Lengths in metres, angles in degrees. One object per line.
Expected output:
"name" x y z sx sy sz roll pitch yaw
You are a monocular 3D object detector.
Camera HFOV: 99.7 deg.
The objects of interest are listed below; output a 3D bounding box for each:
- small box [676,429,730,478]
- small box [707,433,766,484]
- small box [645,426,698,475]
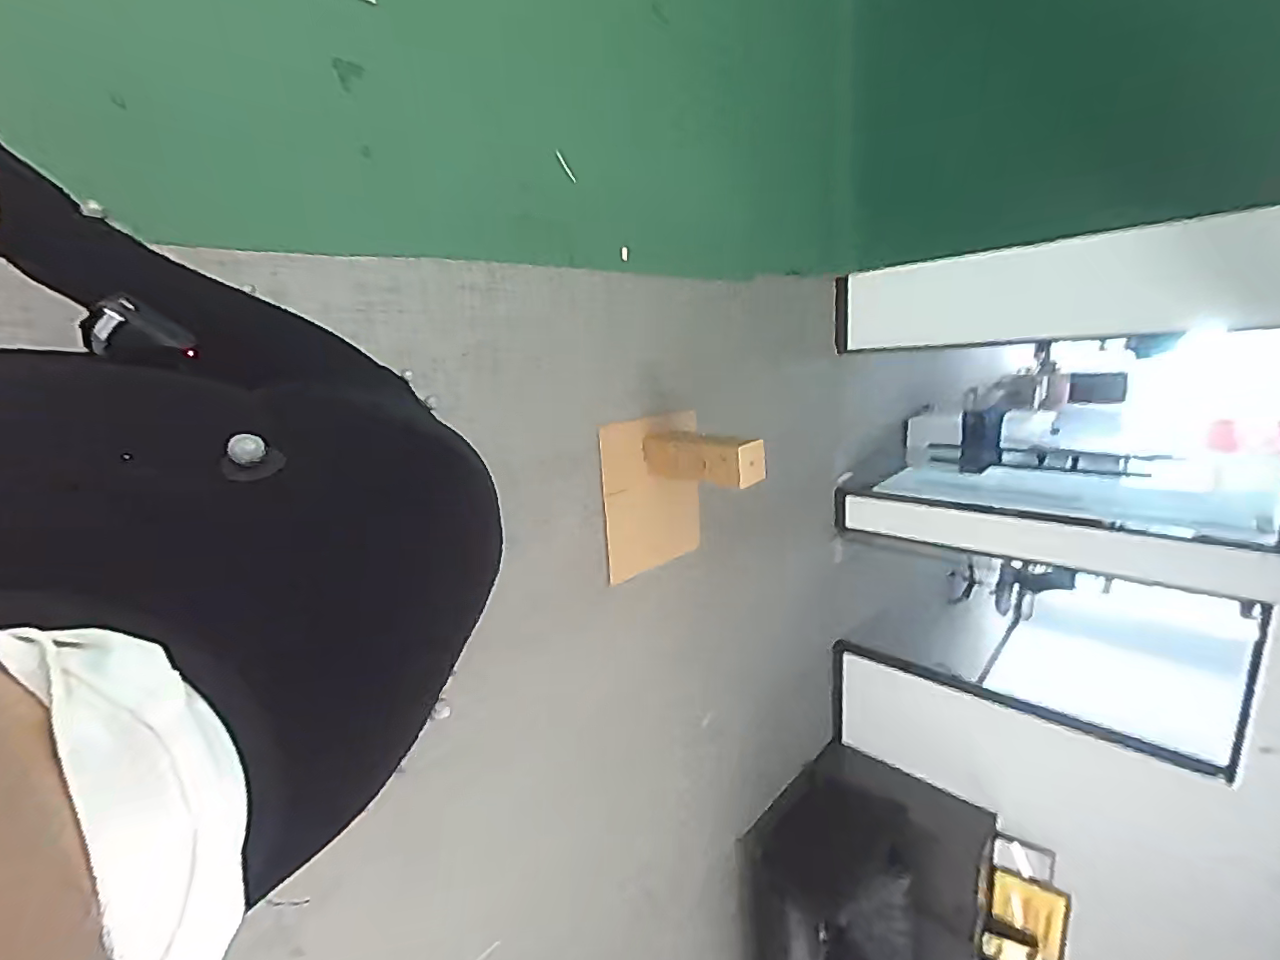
"small box" 0.261 -0.113 2.241 0.179 0.176 0.168 -21 112 -42
"small box" 0.376 -0.089 2.130 0.179 0.176 0.168 -21 111 -42
"small box" 0.146 -0.134 2.355 0.179 0.176 0.168 -25 114 -40
